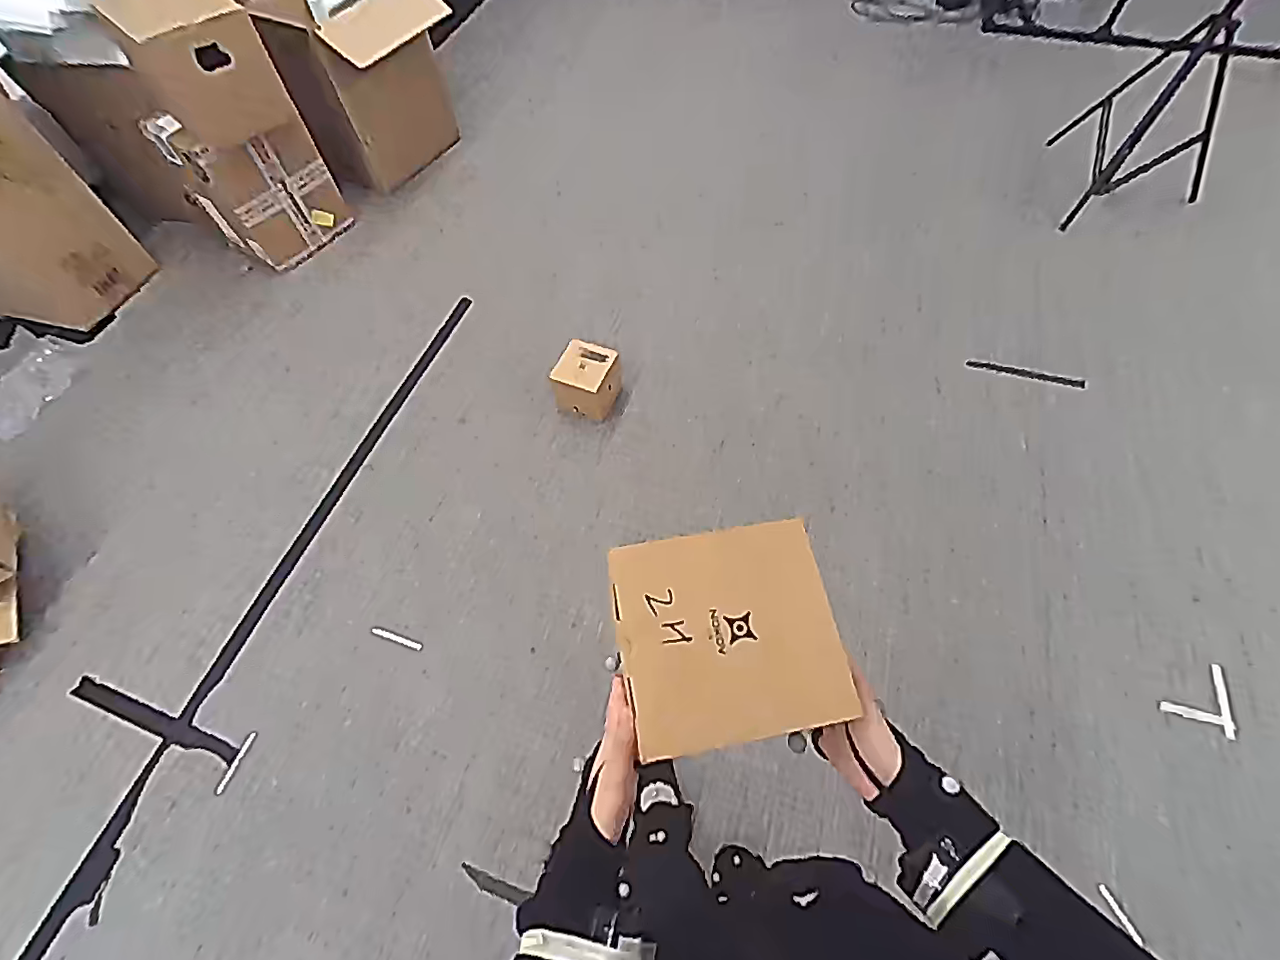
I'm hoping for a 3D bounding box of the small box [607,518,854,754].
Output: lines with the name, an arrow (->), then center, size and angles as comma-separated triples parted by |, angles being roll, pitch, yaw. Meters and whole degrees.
small box -> 0.064, 0.149, 0.509 | 0.179, 0.176, 0.168 | -8, 66, -6
